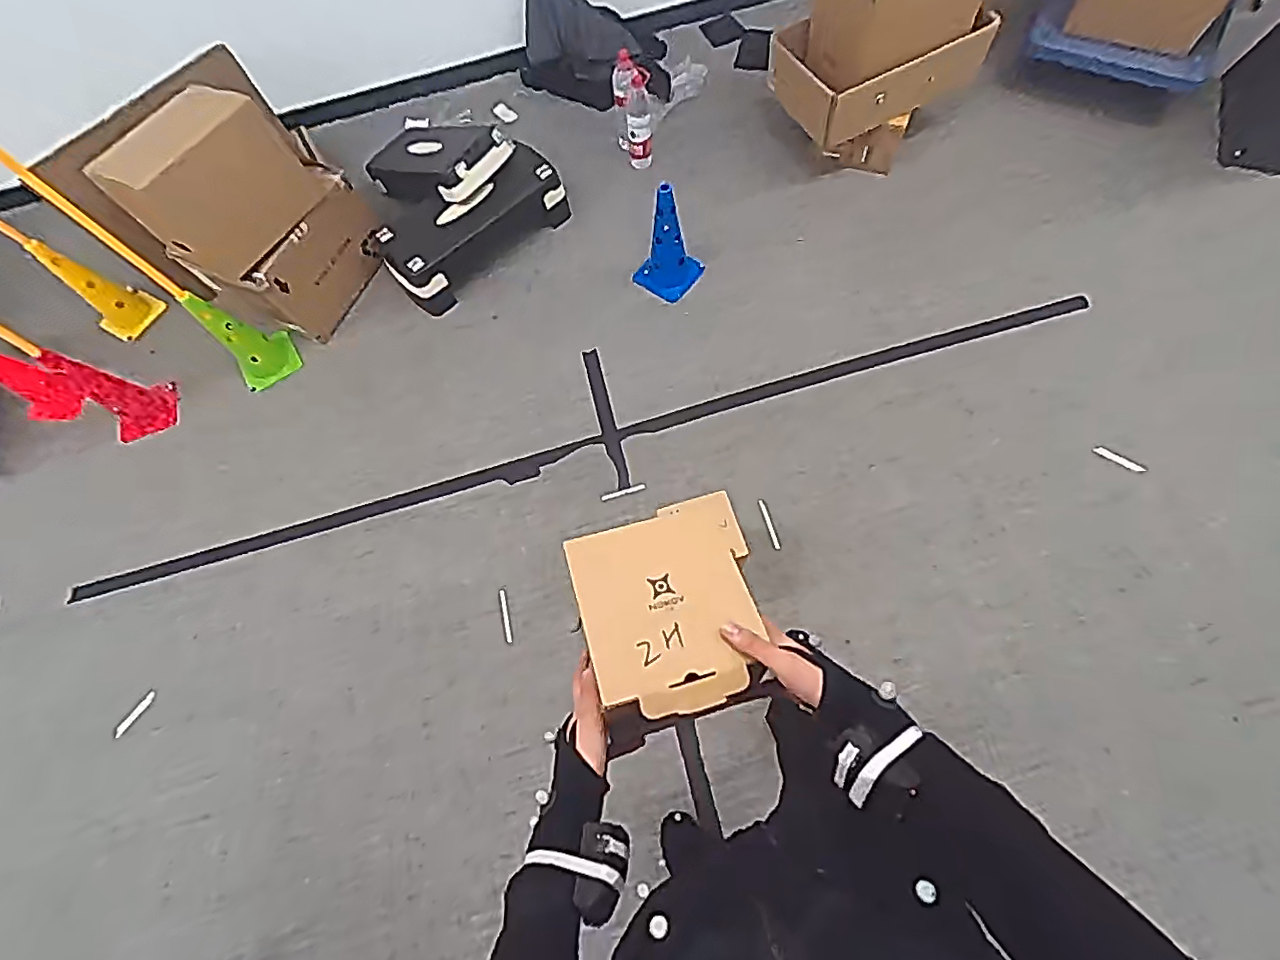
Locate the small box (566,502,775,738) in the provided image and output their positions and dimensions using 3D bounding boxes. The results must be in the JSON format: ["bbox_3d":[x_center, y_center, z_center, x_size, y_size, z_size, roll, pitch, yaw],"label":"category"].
[{"bbox_3d":[0.022,0.154,0.590,0.168,0.176,0.179,-14,55,-10],"label":"small box"}]
